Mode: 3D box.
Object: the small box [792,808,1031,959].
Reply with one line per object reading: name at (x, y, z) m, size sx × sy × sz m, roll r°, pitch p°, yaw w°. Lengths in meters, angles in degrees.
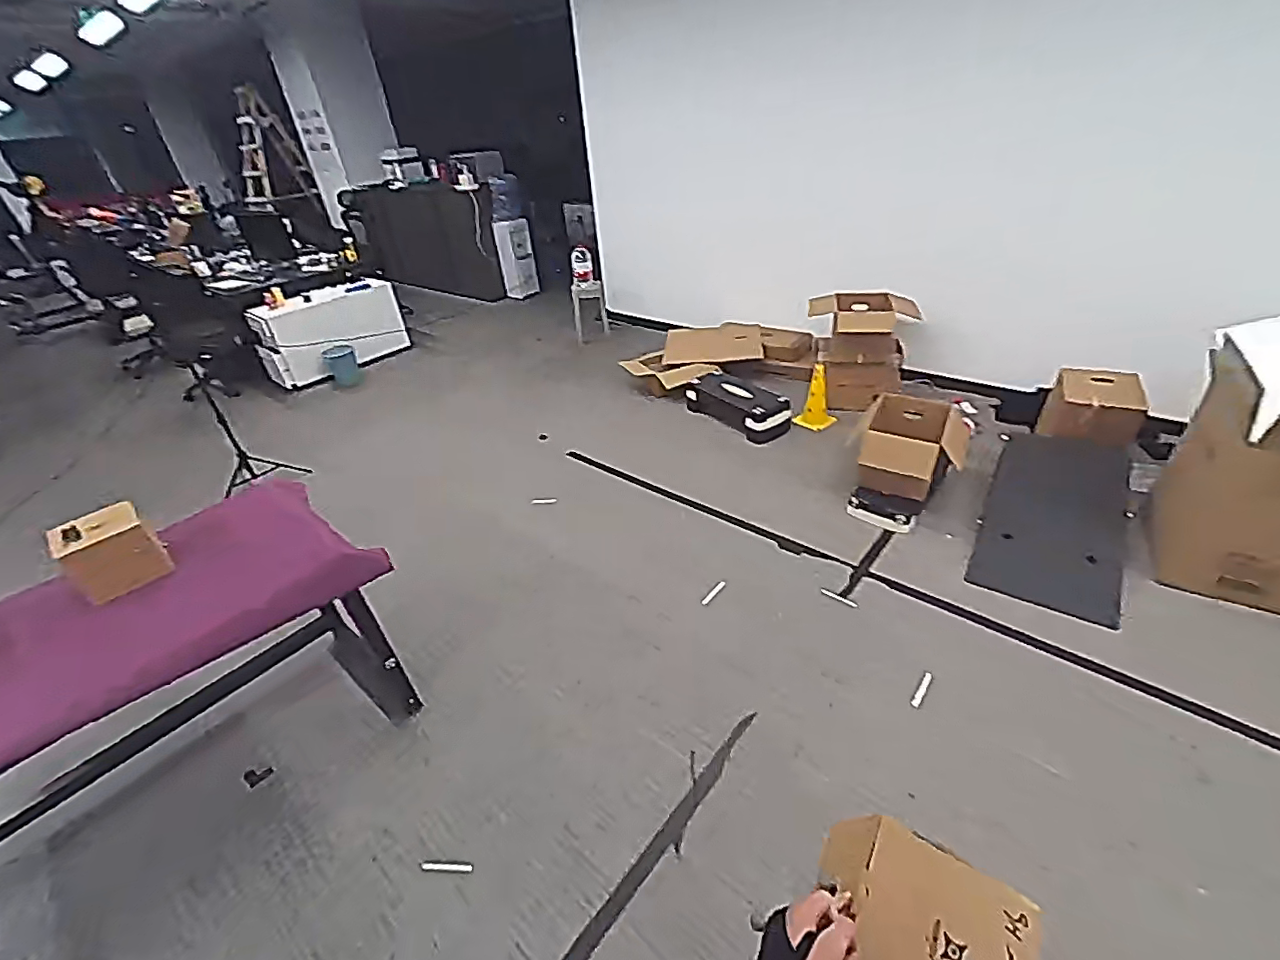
small box at (0.292, 0.510, 0.609) m, size 0.179 × 0.176 × 0.168 m, roll 25°, pitch 56°, yaw 16°
